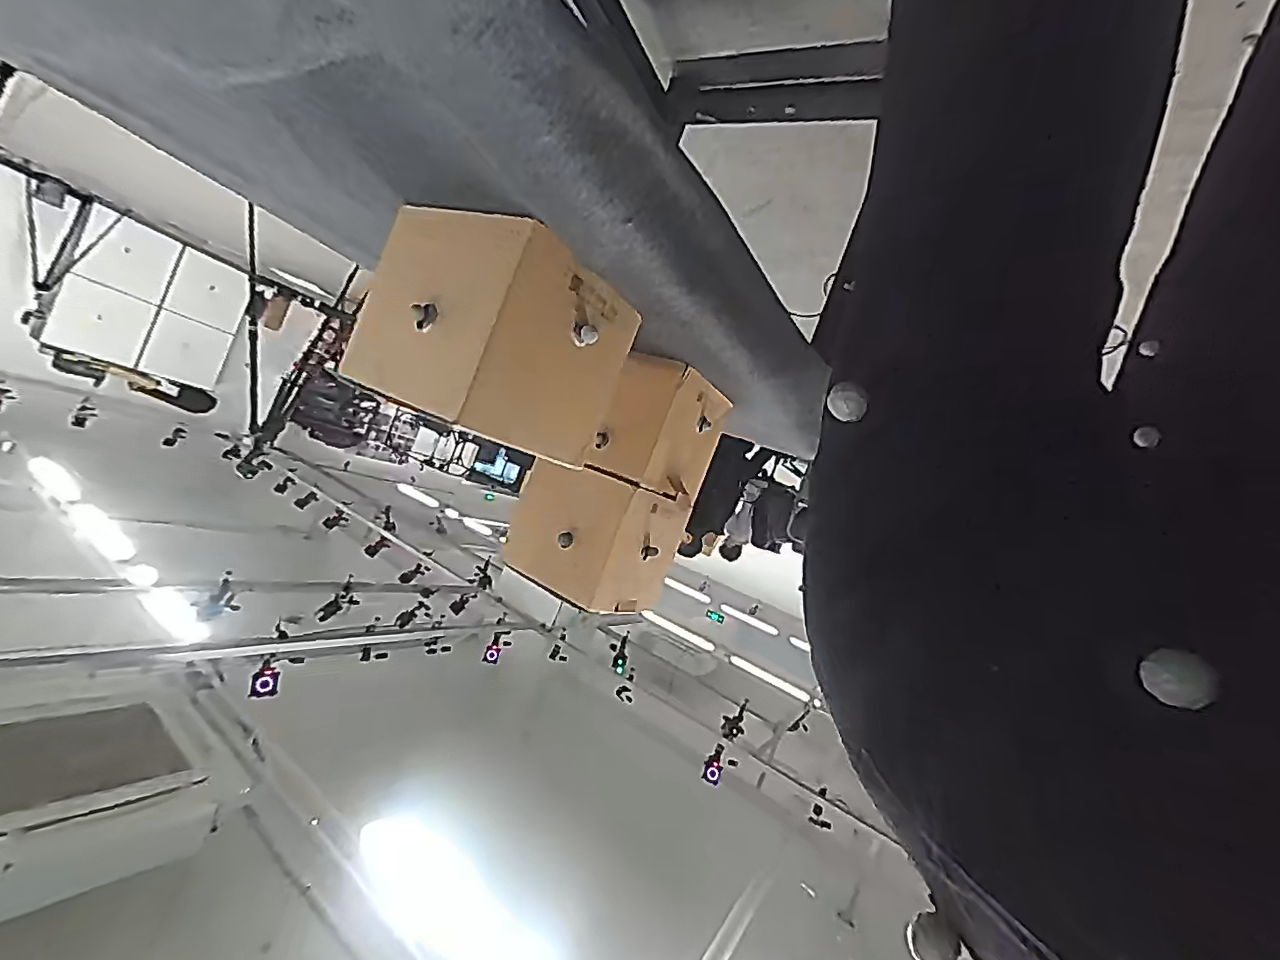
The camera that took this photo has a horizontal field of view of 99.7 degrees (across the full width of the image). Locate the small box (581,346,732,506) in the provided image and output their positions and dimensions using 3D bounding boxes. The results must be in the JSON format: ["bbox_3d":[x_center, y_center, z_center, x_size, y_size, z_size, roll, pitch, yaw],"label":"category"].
[{"bbox_3d":[0.003,-0.081,0.768,0.179,0.176,0.168,20,179,32],"label":"small box"}]

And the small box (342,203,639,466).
[{"bbox_3d":[-0.130,-0.133,0.505,0.179,0.176,0.168,21,180,31],"label":"small box"}]

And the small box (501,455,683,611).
[{"bbox_3d":[-0.057,0.072,0.760,0.179,0.176,0.168,20,178,34],"label":"small box"}]
